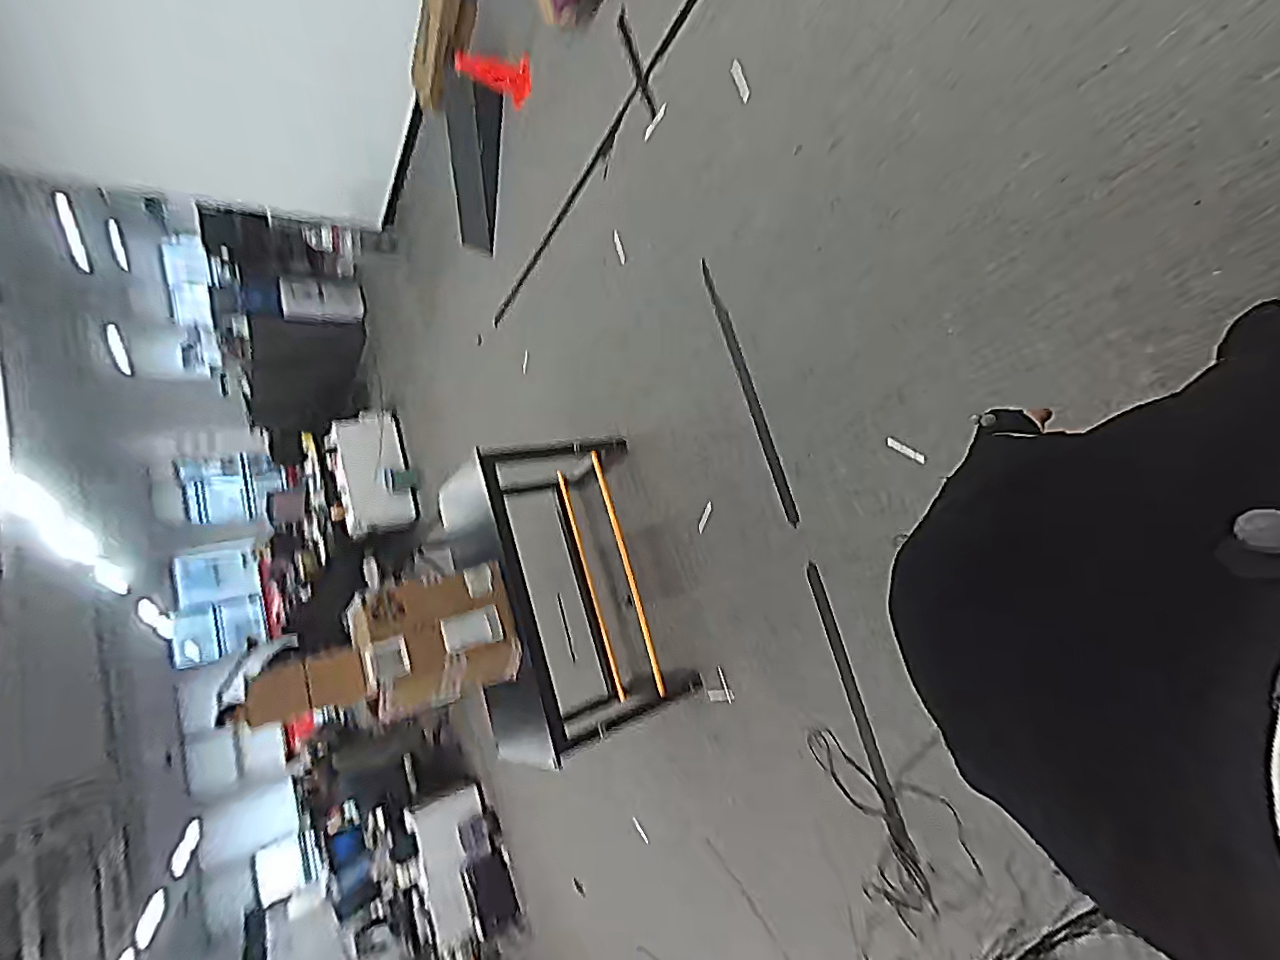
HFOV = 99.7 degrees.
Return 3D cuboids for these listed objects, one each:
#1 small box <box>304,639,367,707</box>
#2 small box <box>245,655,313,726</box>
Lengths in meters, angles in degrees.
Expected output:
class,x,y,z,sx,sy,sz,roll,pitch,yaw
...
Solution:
class,x,y,z,sx,sy,sz,roll,pitch,yaw
small box,-1.068,0.679,1.897,0.168,0.176,0.179,-37,67,51
small box,-1.199,0.696,1.800,0.168,0.176,0.179,-41,64,52
